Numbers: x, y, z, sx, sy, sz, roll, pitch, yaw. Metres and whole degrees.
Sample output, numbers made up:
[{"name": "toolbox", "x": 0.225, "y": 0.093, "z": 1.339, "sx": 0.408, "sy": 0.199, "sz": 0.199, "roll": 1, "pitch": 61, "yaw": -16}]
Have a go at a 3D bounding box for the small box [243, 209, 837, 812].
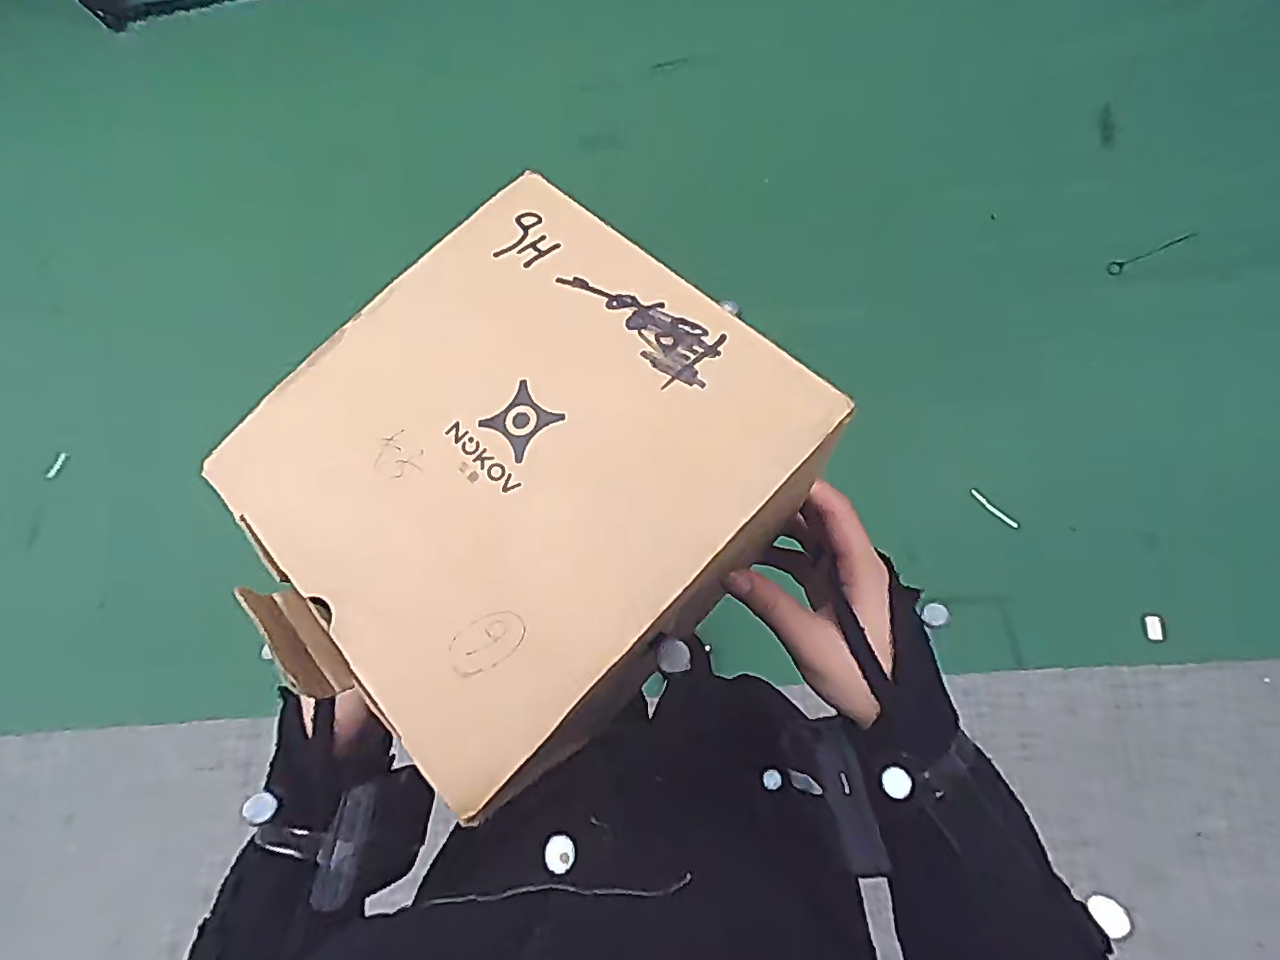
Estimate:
[{"name": "small box", "x": -0.033, "y": 0.017, "z": 0.277, "sx": 0.168, "sy": 0.176, "sz": 0.179, "roll": 42, "pitch": 83, "yaw": 17}]
